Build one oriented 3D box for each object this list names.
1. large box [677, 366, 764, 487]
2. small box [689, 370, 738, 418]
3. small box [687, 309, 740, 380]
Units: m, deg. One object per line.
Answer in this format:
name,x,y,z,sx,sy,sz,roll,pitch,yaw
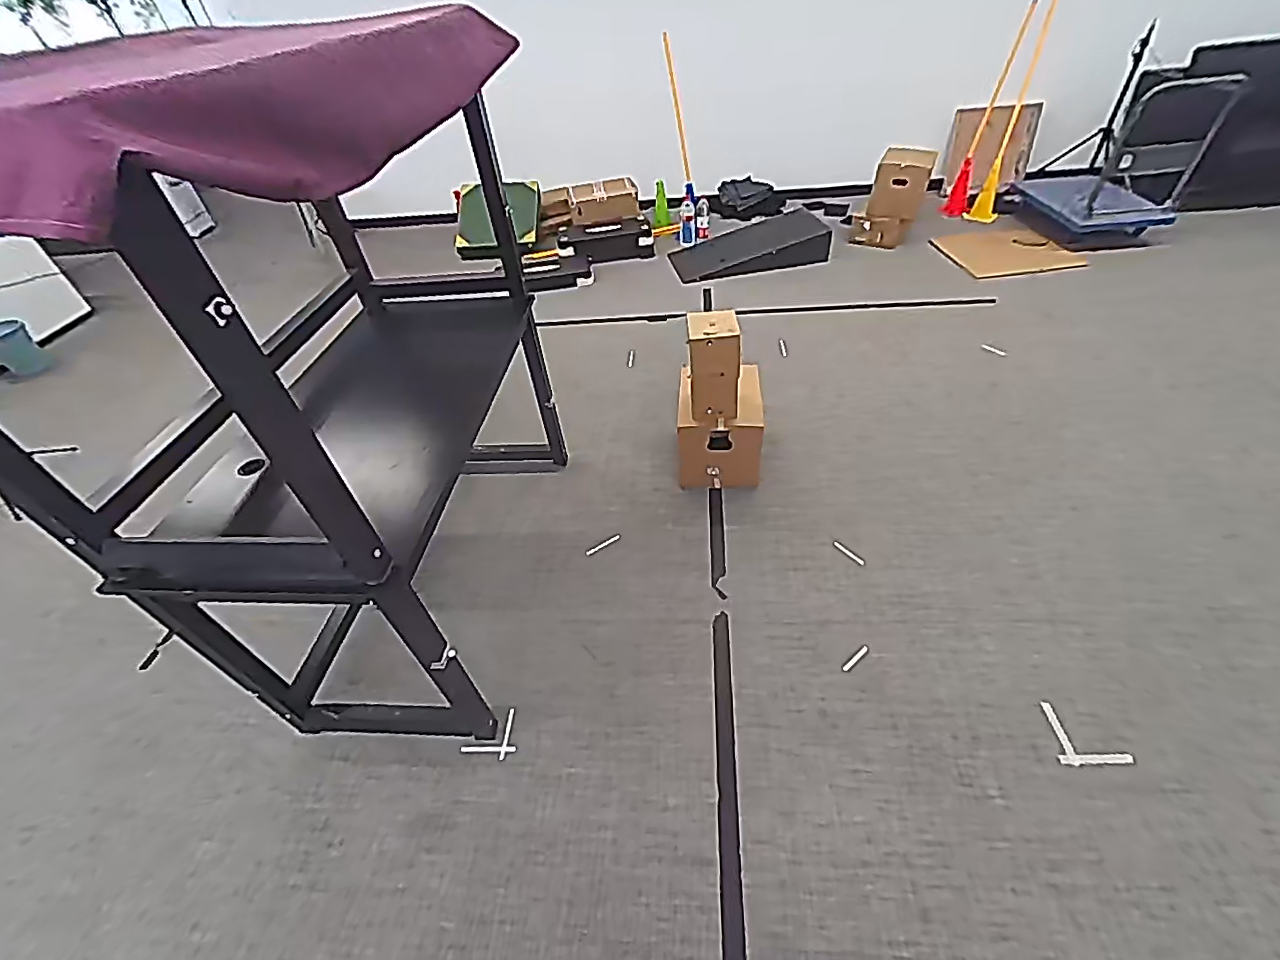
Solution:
large box,0.312,-0.215,2.167,0.320,0.320,0.408,1,43,6
small box,0.264,-0.343,1.953,0.168,0.176,0.179,-2,44,7
small box,0.248,-0.460,1.839,0.168,0.176,0.179,-5,43,5
